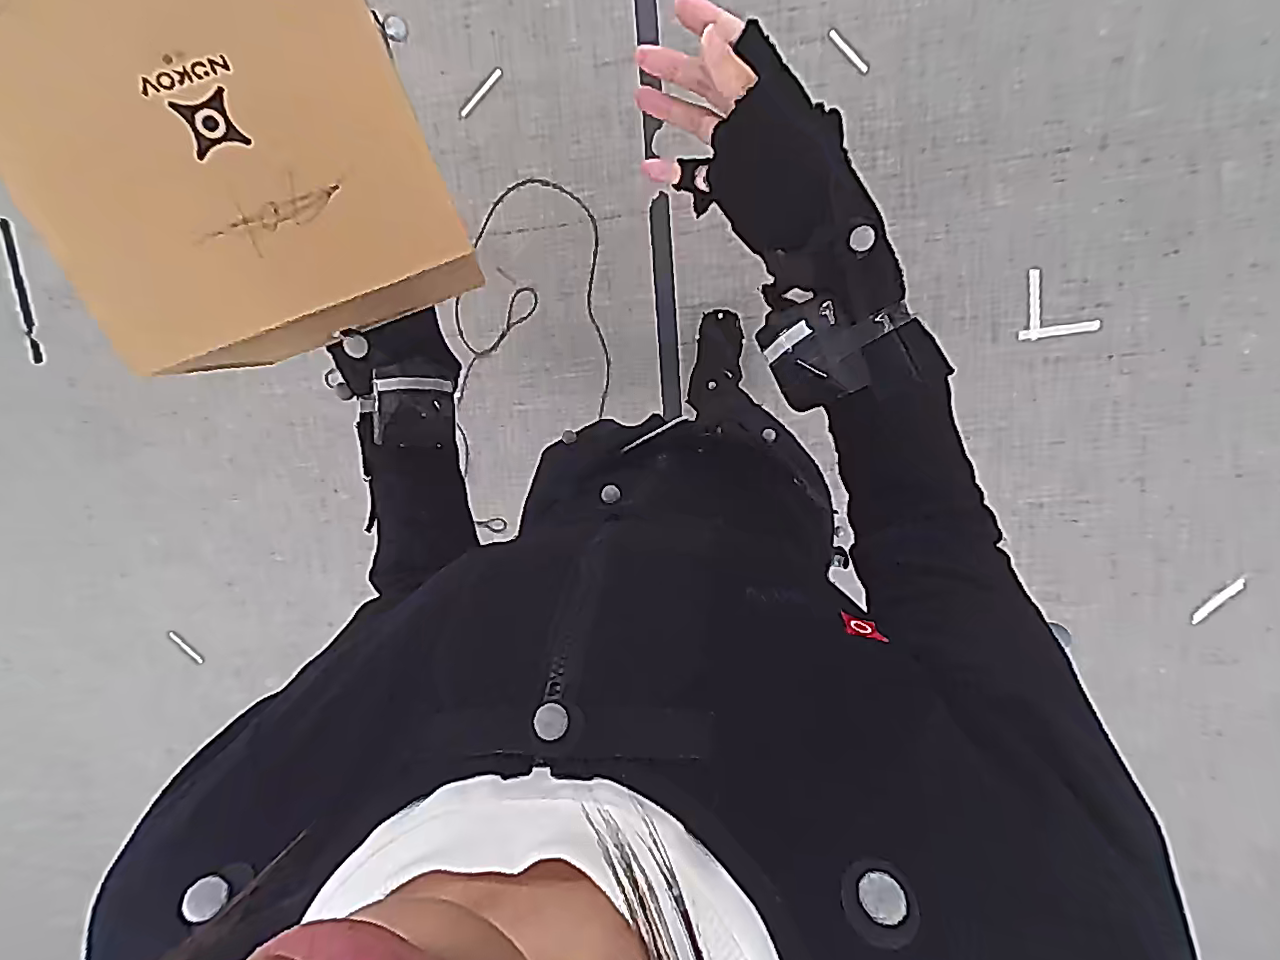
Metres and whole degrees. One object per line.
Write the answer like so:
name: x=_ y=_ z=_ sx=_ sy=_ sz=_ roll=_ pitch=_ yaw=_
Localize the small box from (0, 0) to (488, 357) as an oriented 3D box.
small box: x=-0.203 y=-0.183 z=0.320 sx=0.168 sy=0.176 sz=0.179 roll=-24 pitch=108 yaw=-7
